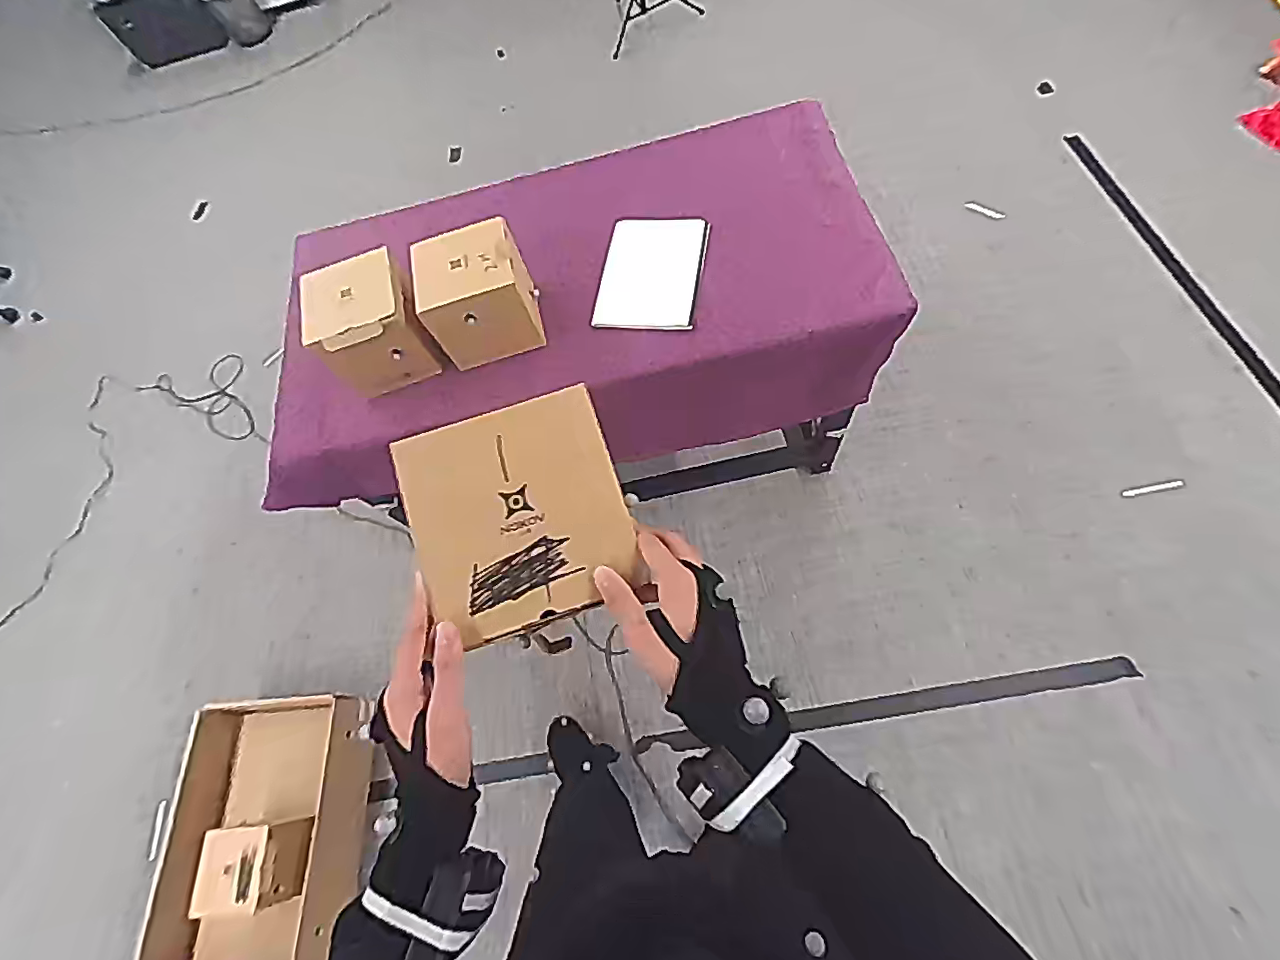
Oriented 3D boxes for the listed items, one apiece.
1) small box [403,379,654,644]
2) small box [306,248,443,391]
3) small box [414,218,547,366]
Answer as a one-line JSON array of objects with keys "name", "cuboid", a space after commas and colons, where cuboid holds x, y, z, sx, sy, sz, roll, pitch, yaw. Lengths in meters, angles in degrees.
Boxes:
[{"name": "small box", "cuboid": [-0.089, 0.036, 0.502, 0.168, 0.176, 0.179, -18, 77, -4]}, {"name": "small box", "cuboid": [-0.487, -0.287, 1.008, 0.168, 0.176, 0.179, -19, 64, 0]}, {"name": "small box", "cuboid": [-0.289, -0.335, 0.994, 0.179, 0.176, 0.168, -16, 65, 2]}]
